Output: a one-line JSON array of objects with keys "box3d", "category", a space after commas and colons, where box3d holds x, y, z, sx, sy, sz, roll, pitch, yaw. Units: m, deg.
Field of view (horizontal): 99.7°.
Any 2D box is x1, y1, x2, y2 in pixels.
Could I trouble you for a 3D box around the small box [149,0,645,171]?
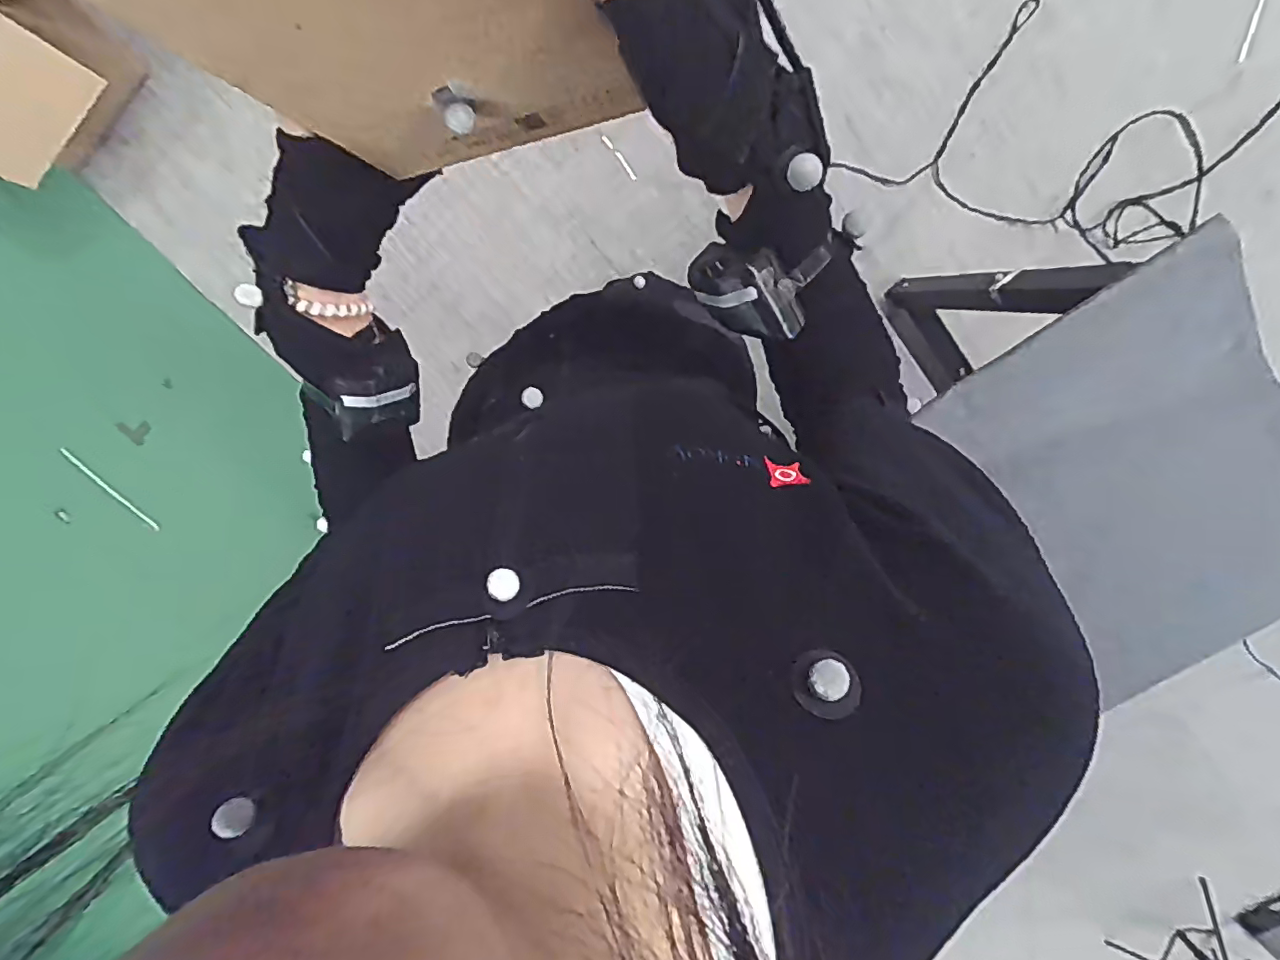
[{"box3d": [-0.101, -0.267, 0.224, 0.168, 0.176, 0.179, -5, 97, 15], "category": "small box"}]
